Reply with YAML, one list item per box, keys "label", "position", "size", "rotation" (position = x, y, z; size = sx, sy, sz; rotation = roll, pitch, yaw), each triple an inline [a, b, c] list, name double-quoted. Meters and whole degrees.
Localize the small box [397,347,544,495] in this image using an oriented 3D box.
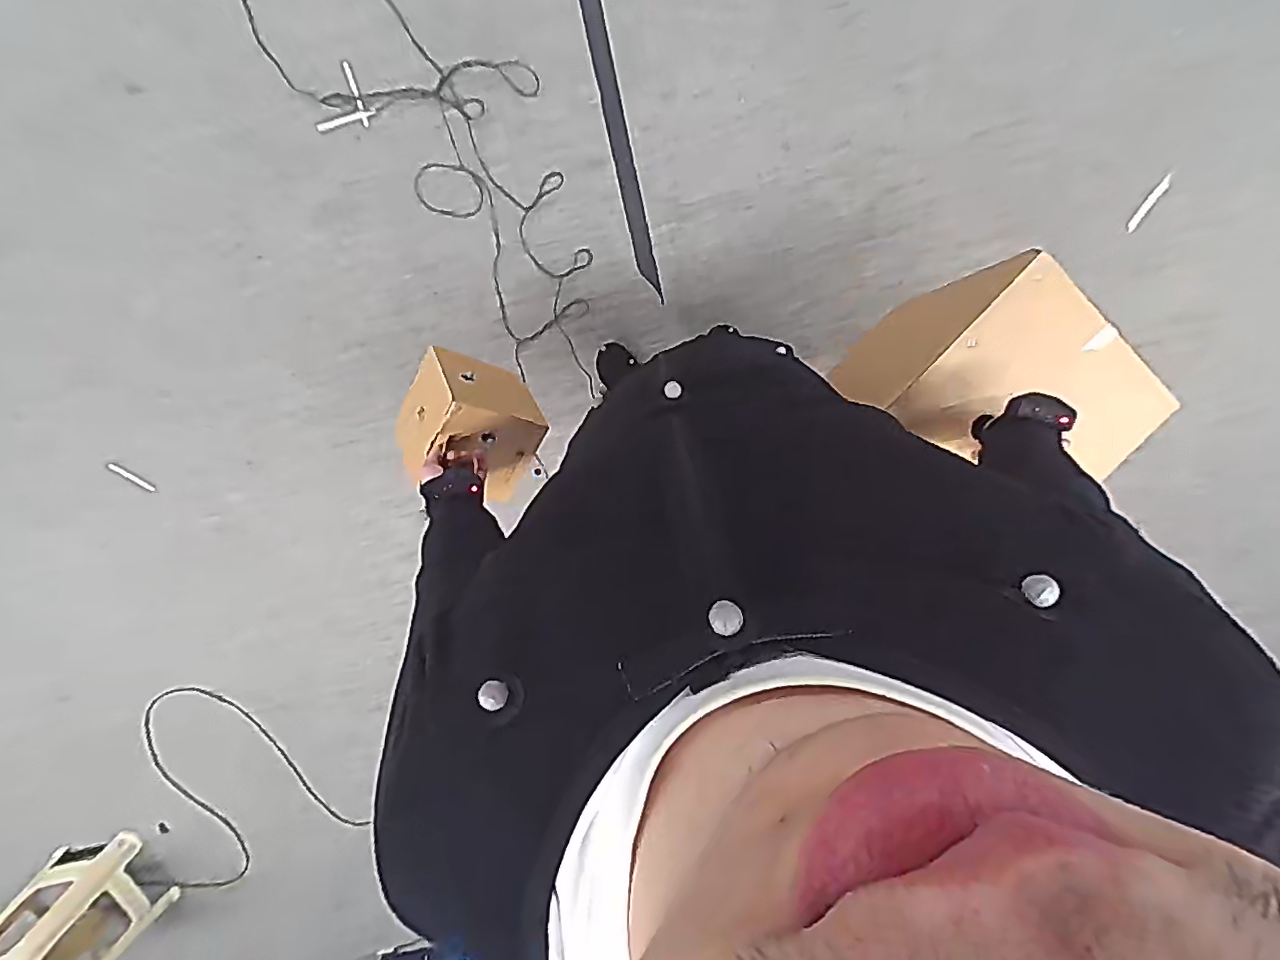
- label: "small box"
  position: [-0.287, -0.091, 0.917]
  size: [0.176, 0.179, 0.168]
  rotation: [16, 119, -42]
